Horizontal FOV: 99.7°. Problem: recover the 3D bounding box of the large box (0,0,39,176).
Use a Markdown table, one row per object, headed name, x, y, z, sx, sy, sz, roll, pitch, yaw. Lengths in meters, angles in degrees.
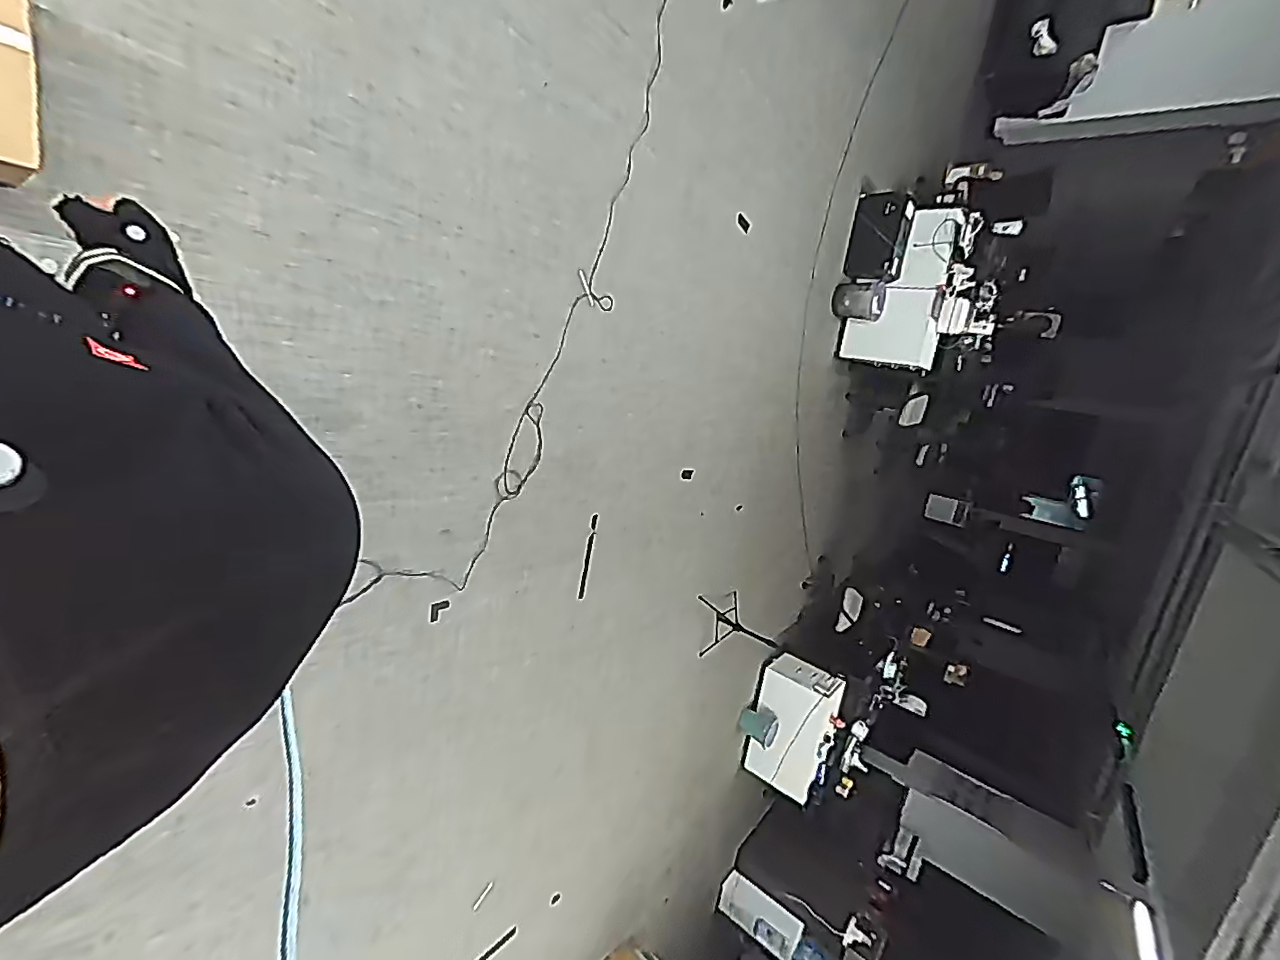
| name | x | y | z | sx | sy | sz | roll | pitch | yaw |
| --- | --- | --- | --- | --- | --- | --- | --- | --- | --- |
| large box | -1.070 | -0.618 | 0.664 | 0.408 | 0.320 | 0.320 | -7 | 110 | -53 |
